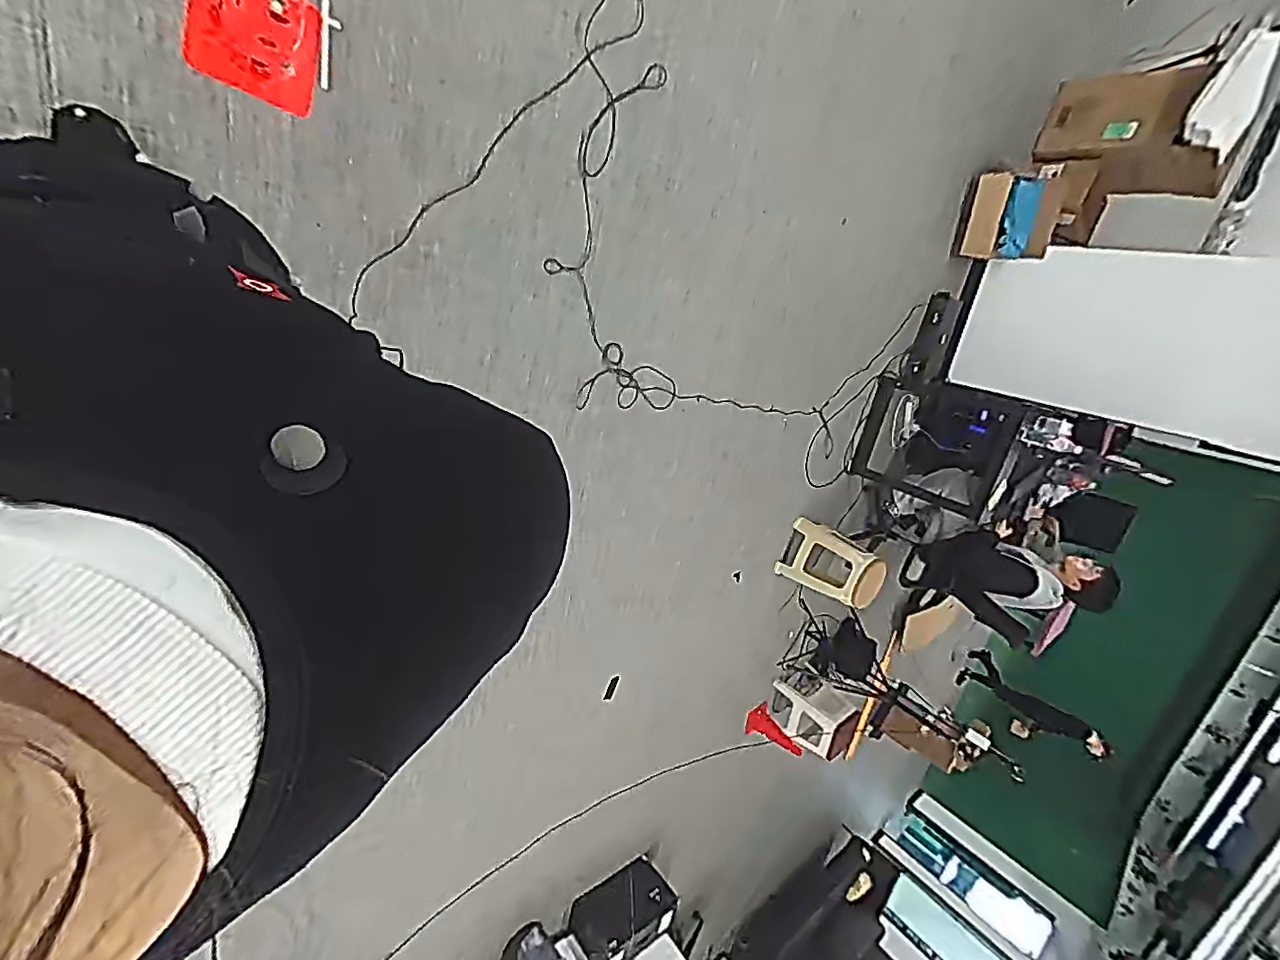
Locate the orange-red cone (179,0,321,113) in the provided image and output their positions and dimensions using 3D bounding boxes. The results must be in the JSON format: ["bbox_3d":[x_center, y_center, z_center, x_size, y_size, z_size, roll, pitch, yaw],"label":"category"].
[{"bbox_3d":[-0.606,-0.763,0.875,0.199,0.360,0.198,7,105,-43],"label":"orange-red cone"}]
